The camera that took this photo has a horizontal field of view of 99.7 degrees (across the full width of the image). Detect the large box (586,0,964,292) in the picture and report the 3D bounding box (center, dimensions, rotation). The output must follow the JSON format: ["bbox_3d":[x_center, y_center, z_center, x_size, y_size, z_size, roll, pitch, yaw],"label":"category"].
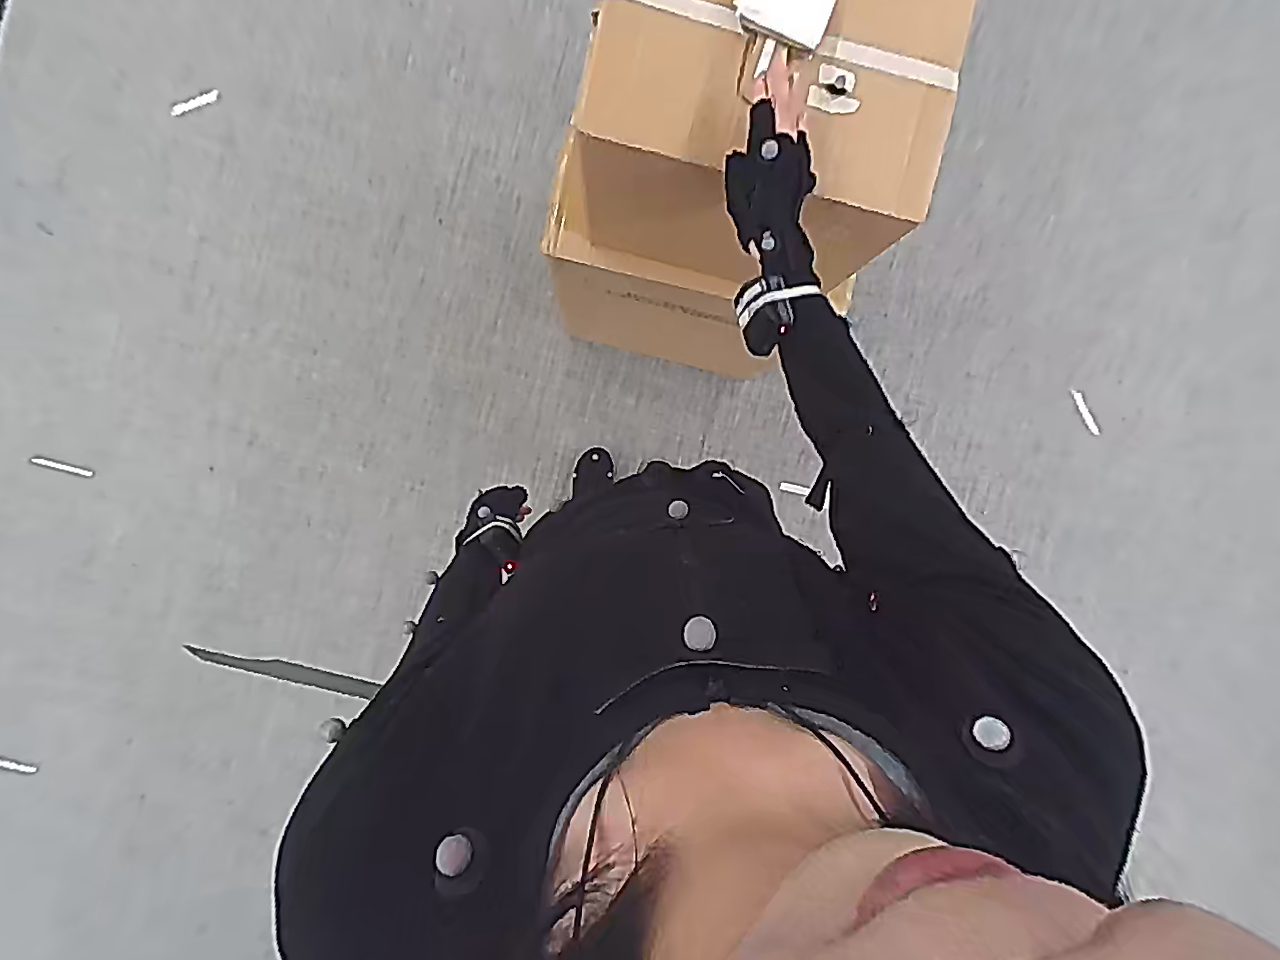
[{"bbox_3d":[0.148,-0.500,0.759,0.408,0.320,0.320,12,92,-5],"label":"large box"}]
